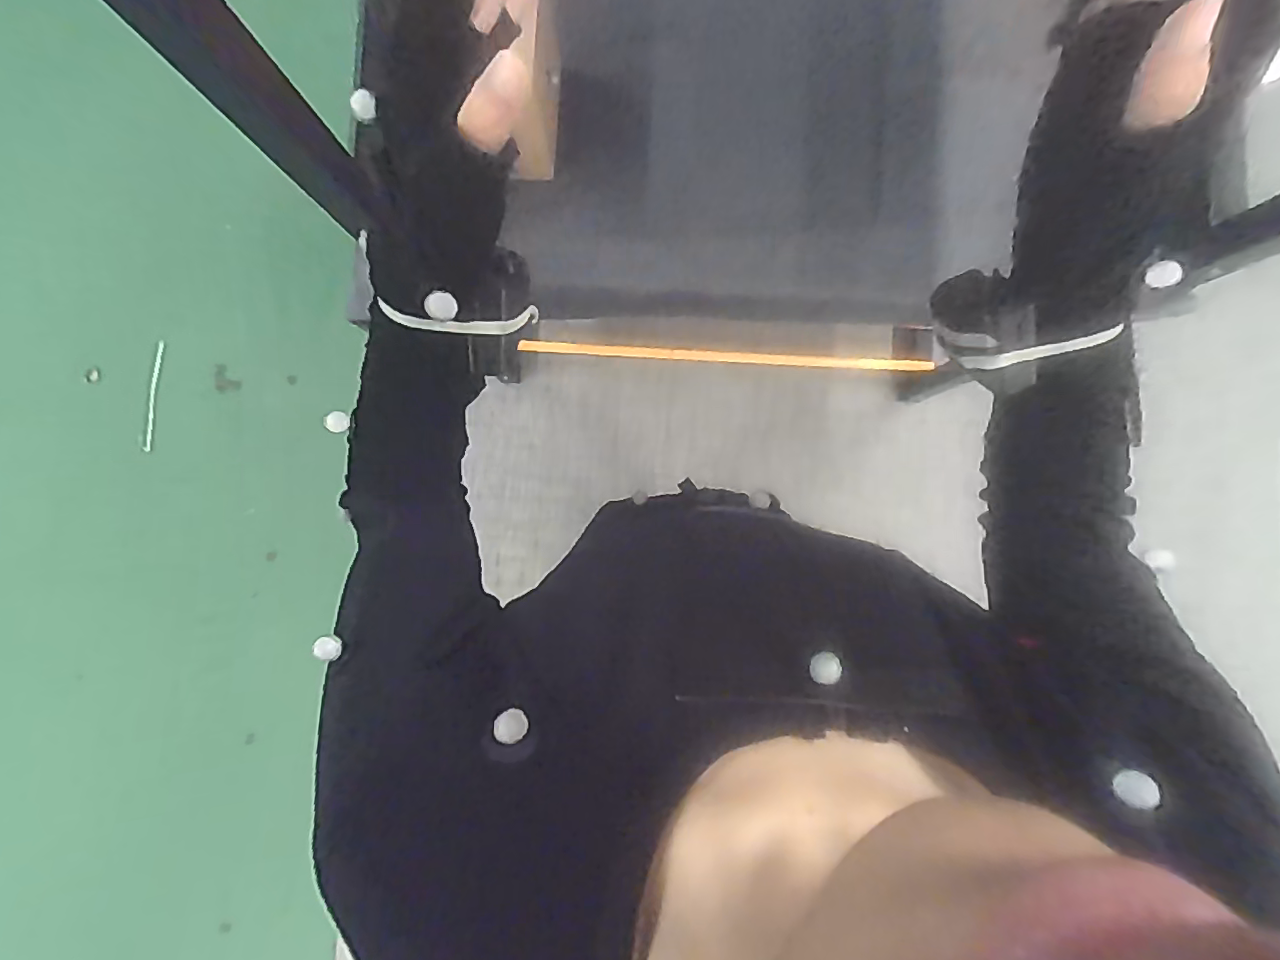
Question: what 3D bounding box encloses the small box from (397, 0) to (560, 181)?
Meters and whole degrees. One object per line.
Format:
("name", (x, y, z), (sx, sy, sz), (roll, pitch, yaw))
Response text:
("small box", (-0.203, -0.540, 0.725), (0.168, 0.176, 0.179), (3, 87, 0))
